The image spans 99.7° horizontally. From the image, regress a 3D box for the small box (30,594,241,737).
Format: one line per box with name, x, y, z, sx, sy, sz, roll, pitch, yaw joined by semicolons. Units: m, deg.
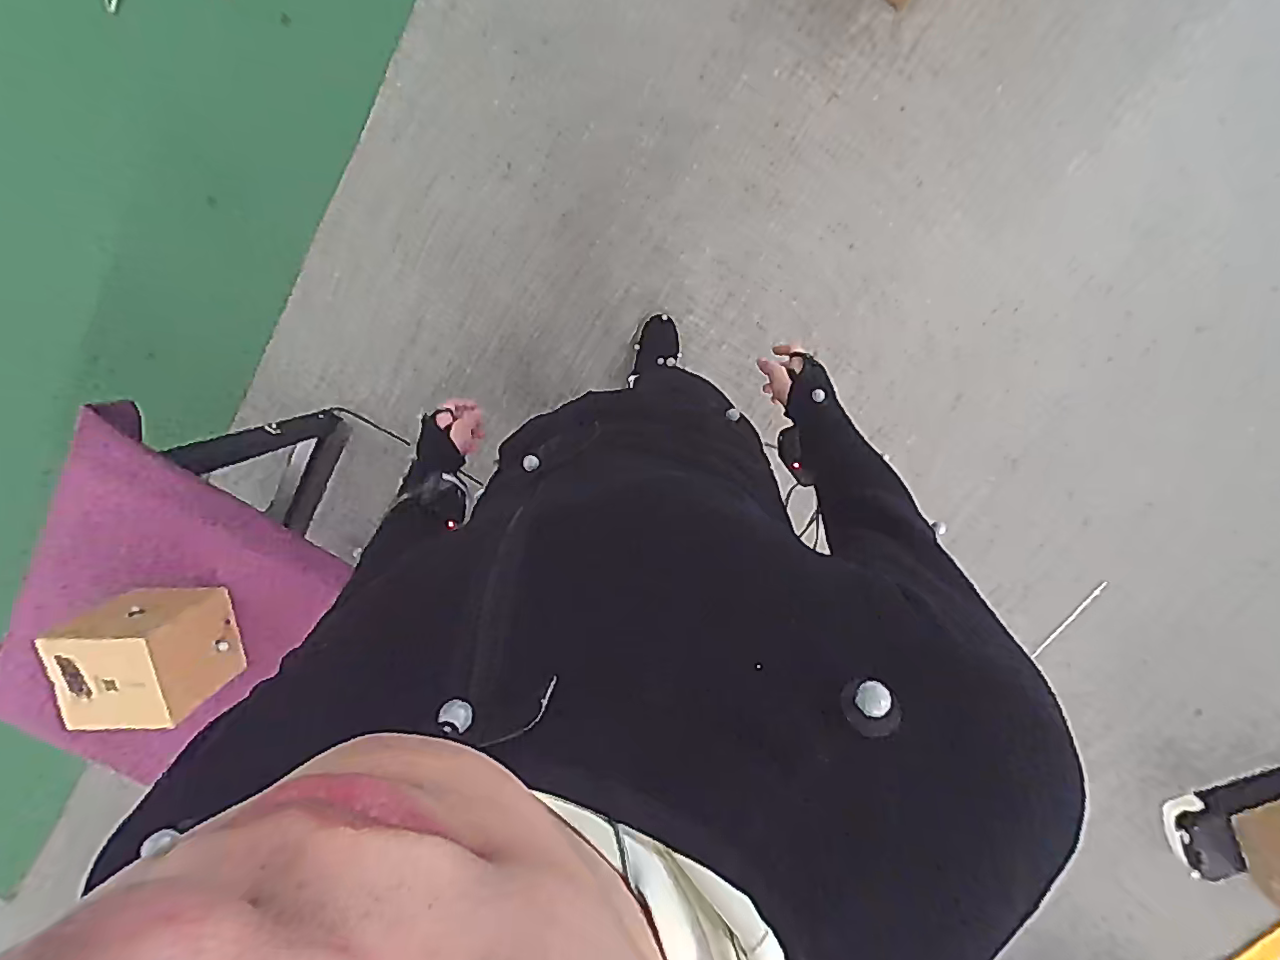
small box;-0.824;0.302;0.903;0.179;0.176;0.168;-1;106;1
